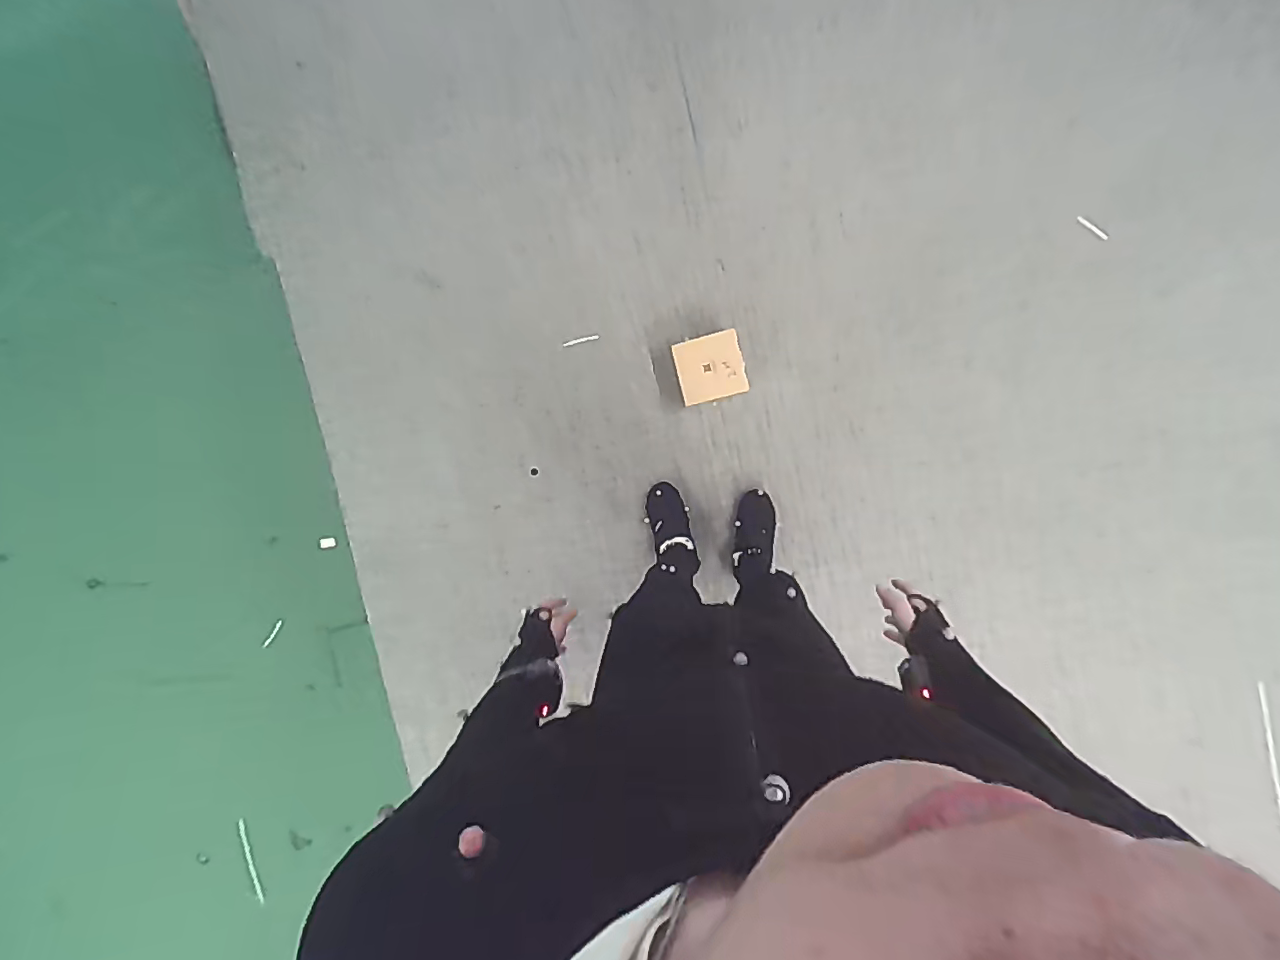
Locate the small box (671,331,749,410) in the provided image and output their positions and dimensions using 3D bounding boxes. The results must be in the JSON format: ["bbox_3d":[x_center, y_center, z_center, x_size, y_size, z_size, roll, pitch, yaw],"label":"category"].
[{"bbox_3d":[0.191,-0.292,1.479,0.179,0.176,0.168,-13,93,6],"label":"small box"}]
